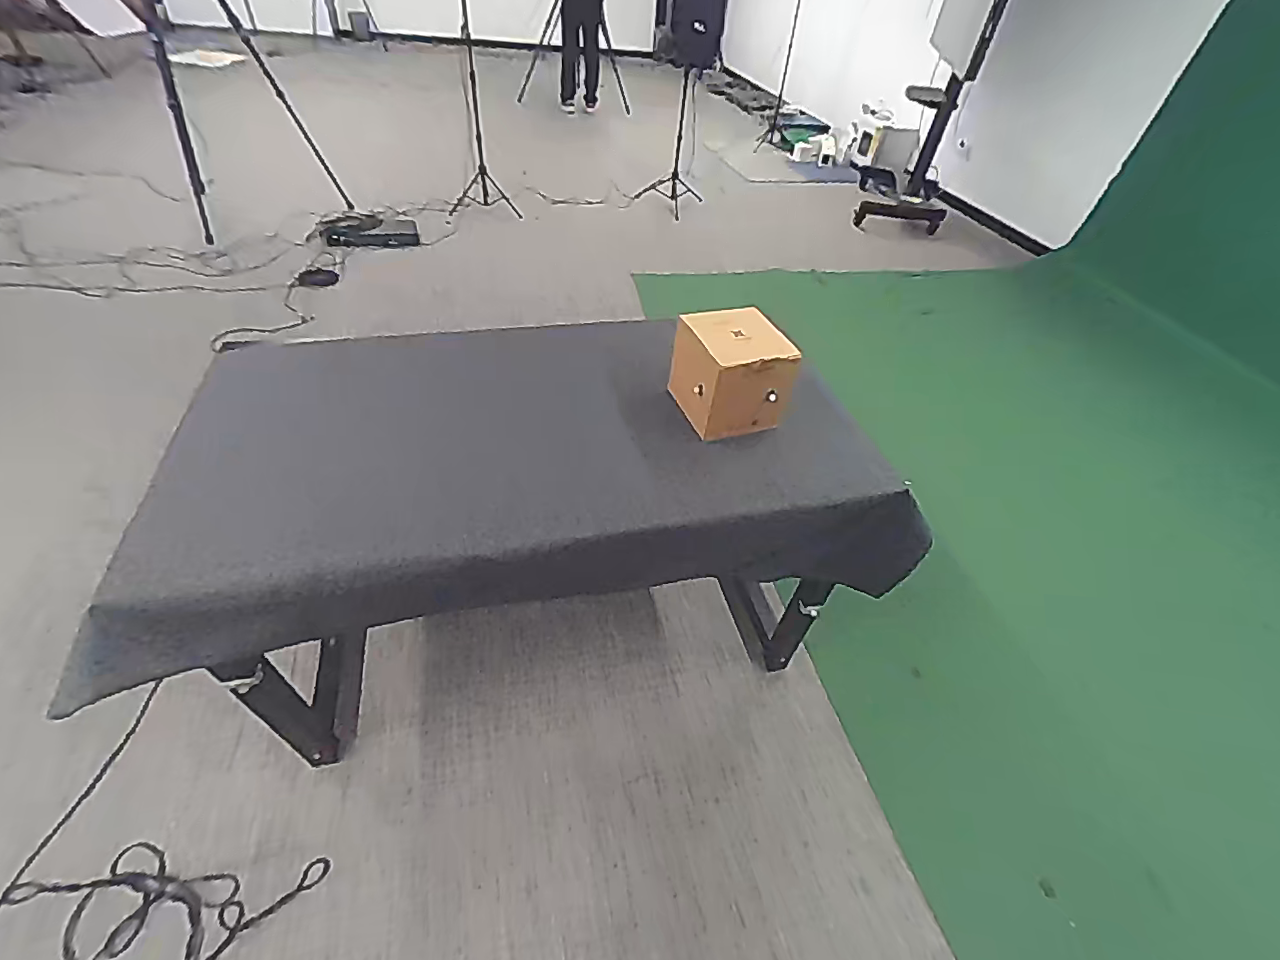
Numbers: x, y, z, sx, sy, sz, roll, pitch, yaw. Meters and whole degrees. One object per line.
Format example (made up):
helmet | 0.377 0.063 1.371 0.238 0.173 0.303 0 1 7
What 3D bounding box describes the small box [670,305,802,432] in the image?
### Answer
small box | 0.170 -0.204 1.015 0.168 0.176 0.179 -11 47 -19
